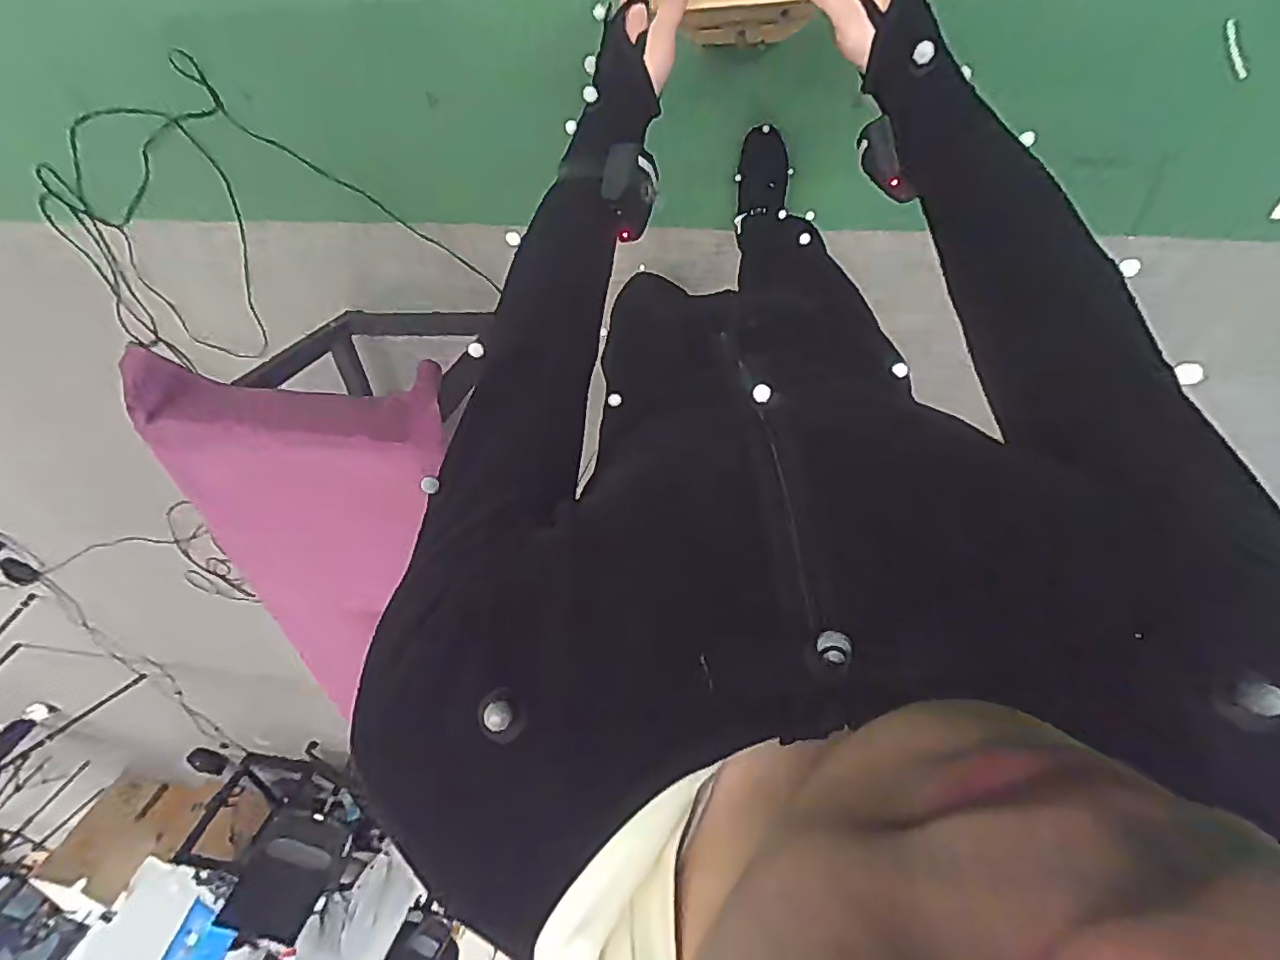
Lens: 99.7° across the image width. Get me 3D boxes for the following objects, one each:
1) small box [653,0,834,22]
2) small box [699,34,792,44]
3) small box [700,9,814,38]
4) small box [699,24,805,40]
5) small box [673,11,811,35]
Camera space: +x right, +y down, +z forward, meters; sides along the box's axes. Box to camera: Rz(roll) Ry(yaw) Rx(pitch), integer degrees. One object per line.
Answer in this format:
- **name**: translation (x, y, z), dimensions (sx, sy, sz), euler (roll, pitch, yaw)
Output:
- **small box**: translation (0.107, -0.563, 0.527), dimensions (0.179, 0.176, 0.168), euler (4, 127, 10)
- **small box**: translation (0.211, -0.951, 1.042), dimensions (0.179, 0.176, 0.168), euler (5, 128, 8)
- **small box**: translation (0.164, -0.757, 0.783), dimensions (0.179, 0.176, 0.168), euler (1, 128, 10)
- **small box**: translation (0.192, -0.855, 0.912), dimensions (0.179, 0.176, 0.168), euler (3, 128, 10)
- **small box**: translation (0.130, -0.660, 0.657), dimensions (0.168, 0.176, 0.179), euler (3, 128, 9)
